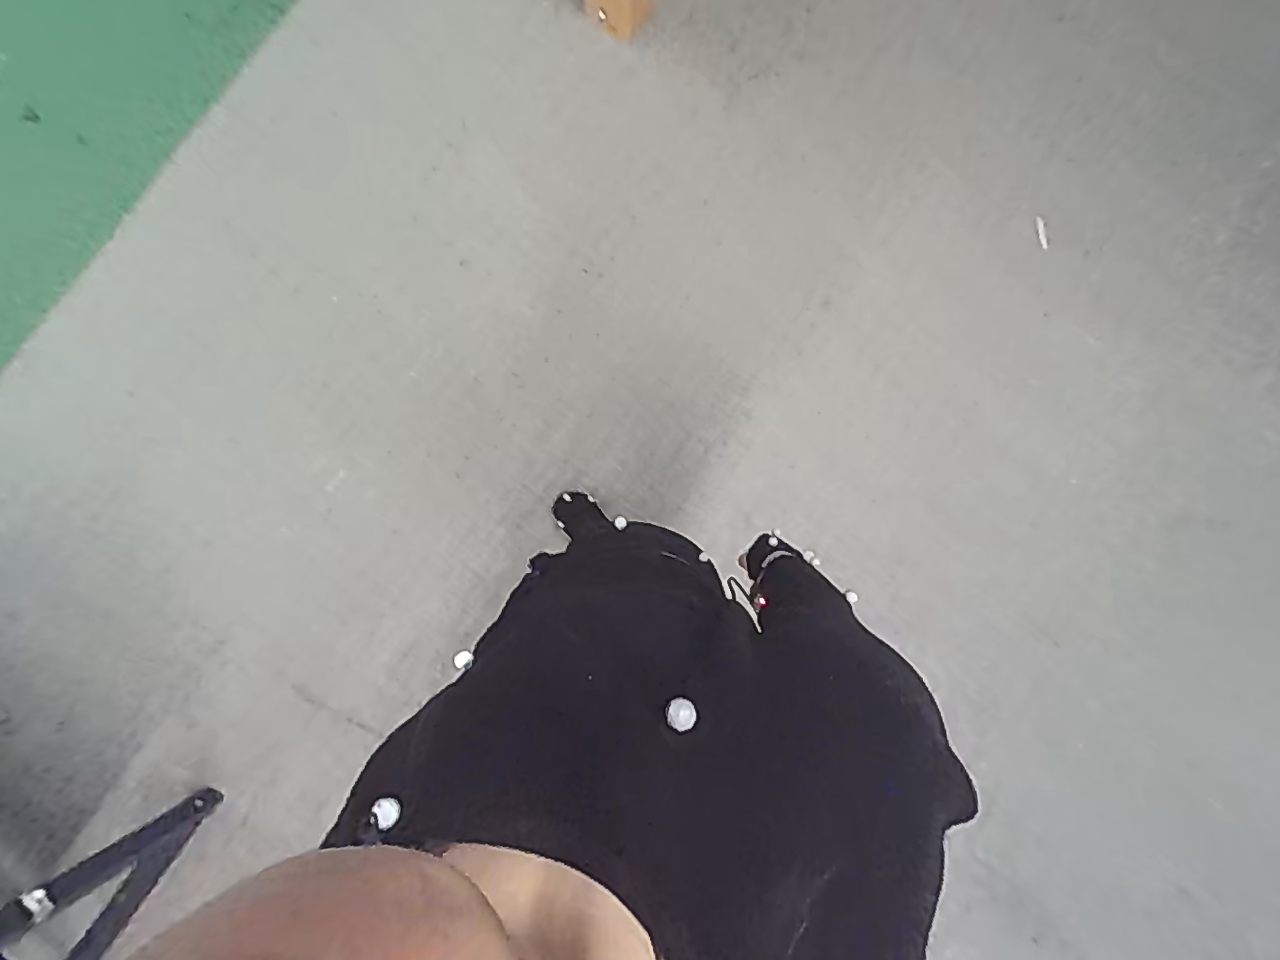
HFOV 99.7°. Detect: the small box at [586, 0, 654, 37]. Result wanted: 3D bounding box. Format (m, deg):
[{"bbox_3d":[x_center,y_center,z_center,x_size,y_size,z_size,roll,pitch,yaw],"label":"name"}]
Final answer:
[{"bbox_3d":[-0.058,-1.470,1.580,0.168,0.176,0.179,34,86,3],"label":"small box"}]
